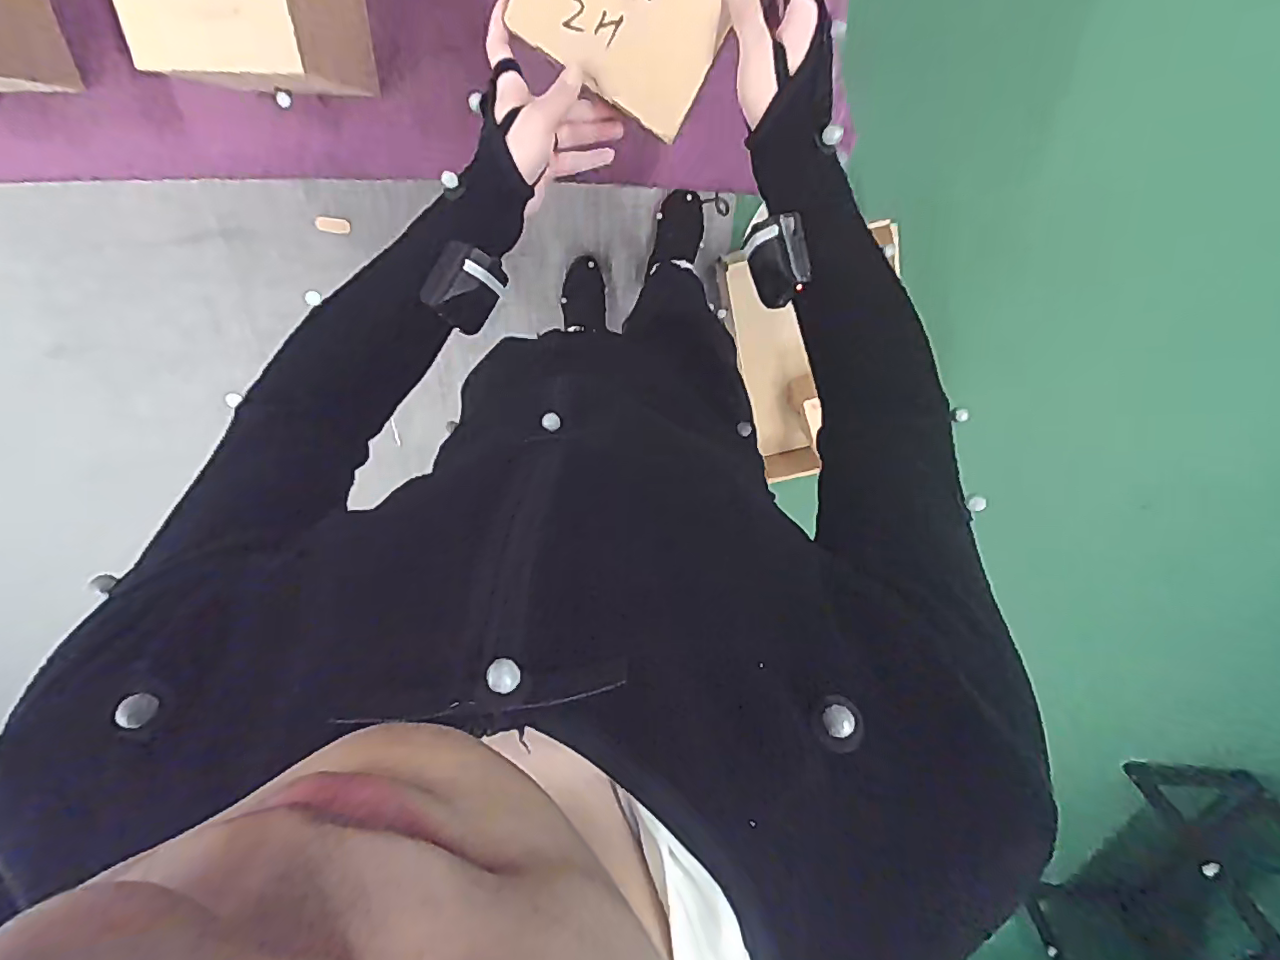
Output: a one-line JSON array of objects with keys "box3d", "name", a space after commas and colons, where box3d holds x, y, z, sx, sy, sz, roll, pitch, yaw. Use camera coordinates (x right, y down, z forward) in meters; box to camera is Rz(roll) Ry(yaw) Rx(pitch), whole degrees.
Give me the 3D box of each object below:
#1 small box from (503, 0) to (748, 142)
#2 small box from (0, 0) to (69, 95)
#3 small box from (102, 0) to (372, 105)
[{"box3d": [0.004, -0.437, 0.482, 0.168, 0.176, 0.179, 28, 120, -13], "name": "small box"}, {"box3d": [-0.761, -0.503, 0.545, 0.168, 0.176, 0.179, 0, 118, 1], "name": "small box"}, {"box3d": [-0.398, -0.496, 0.541, 0.168, 0.176, 0.179, 3, 119, 1], "name": "small box"}]
